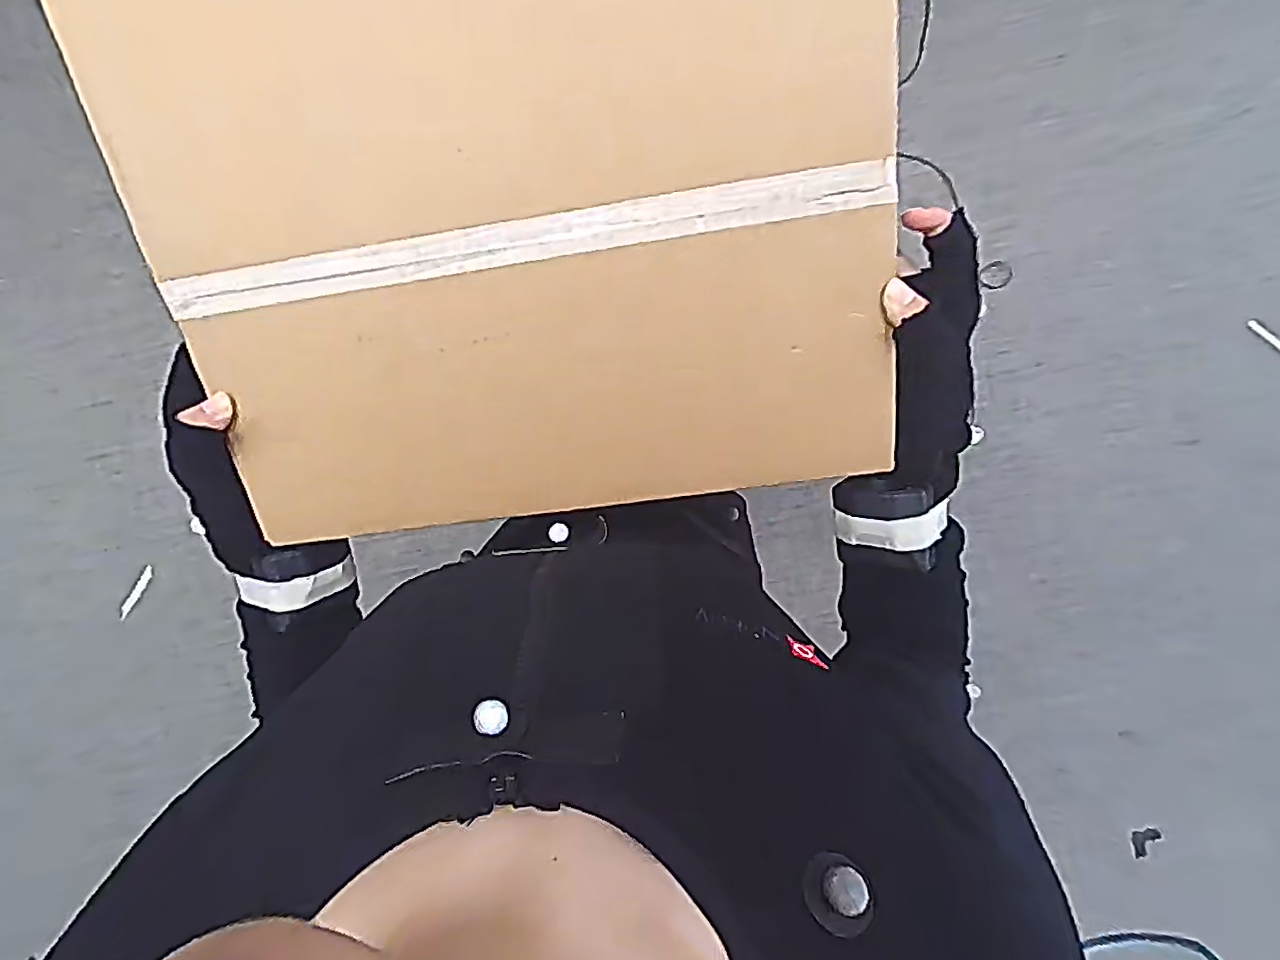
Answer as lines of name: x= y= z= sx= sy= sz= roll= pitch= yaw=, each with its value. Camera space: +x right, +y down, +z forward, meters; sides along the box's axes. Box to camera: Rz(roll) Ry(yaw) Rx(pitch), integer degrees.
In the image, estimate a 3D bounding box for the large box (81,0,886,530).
large box: x=-0.063 y=-0.183 z=0.443 sx=0.408 sy=0.320 sz=0.320 roll=-7 pitch=110 yaw=4
